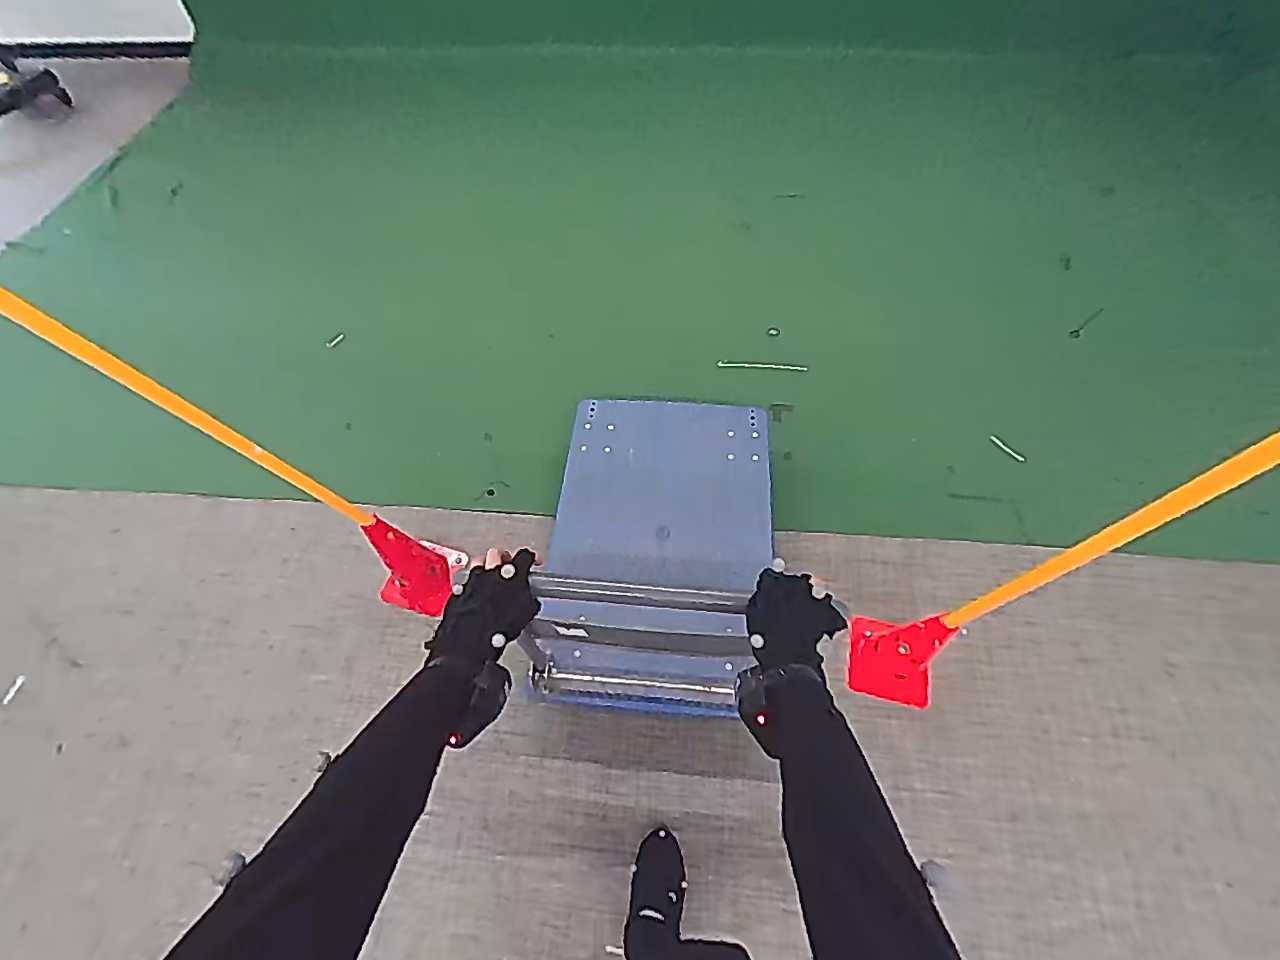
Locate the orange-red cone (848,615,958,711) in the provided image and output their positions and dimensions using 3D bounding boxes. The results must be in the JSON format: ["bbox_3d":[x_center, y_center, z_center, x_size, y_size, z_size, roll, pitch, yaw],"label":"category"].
[{"bbox_3d":[0.638,0.385,1.248,0.198,0.360,0.199,13,61,11],"label":"orange-red cone"}]
